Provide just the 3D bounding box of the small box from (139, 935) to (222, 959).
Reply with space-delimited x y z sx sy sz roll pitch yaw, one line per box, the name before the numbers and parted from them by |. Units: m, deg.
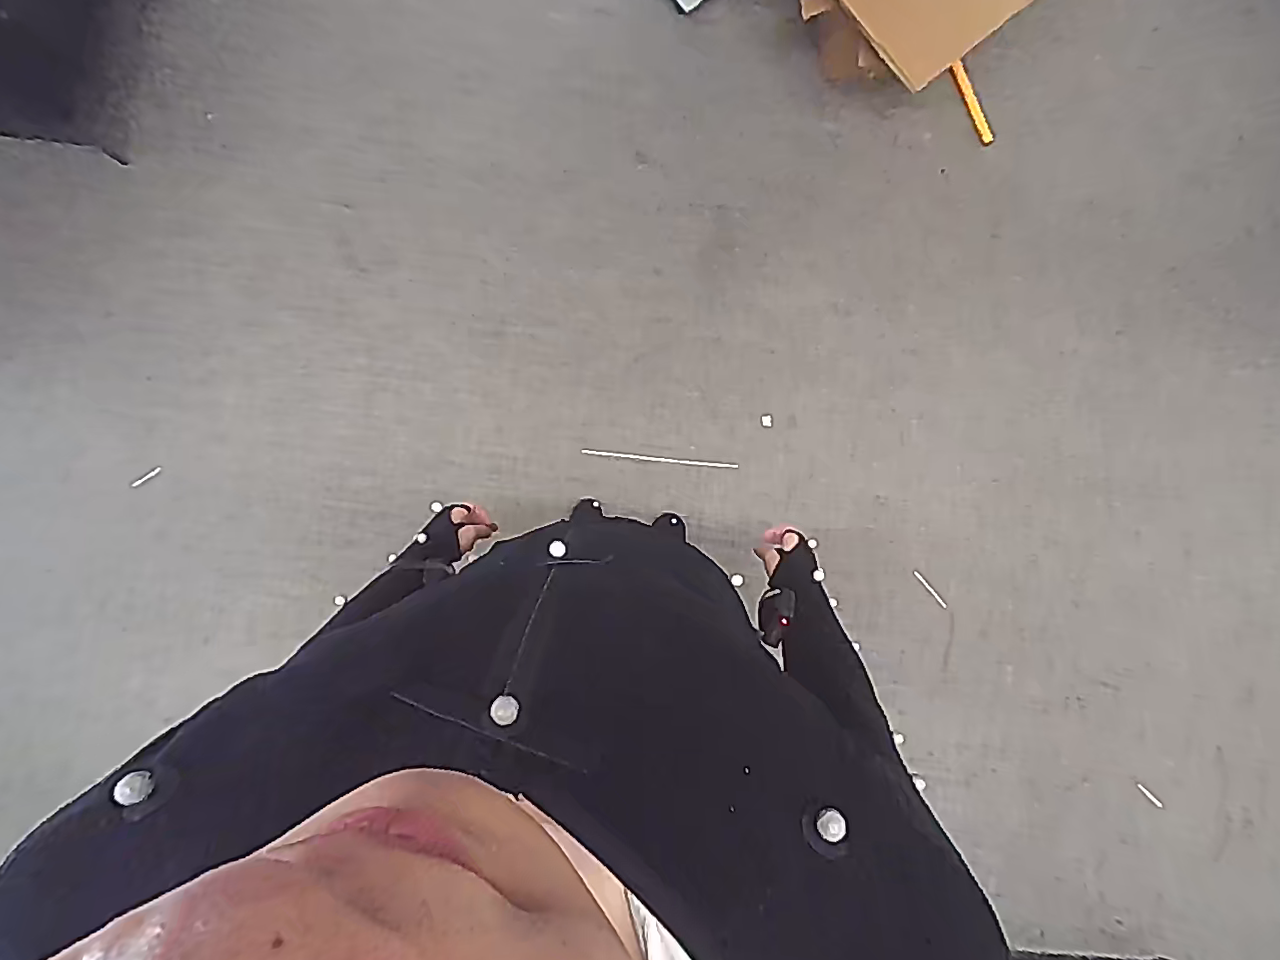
small box | -1.255 1.351 1.423 0.179 0.176 0.168 10 87 -1
